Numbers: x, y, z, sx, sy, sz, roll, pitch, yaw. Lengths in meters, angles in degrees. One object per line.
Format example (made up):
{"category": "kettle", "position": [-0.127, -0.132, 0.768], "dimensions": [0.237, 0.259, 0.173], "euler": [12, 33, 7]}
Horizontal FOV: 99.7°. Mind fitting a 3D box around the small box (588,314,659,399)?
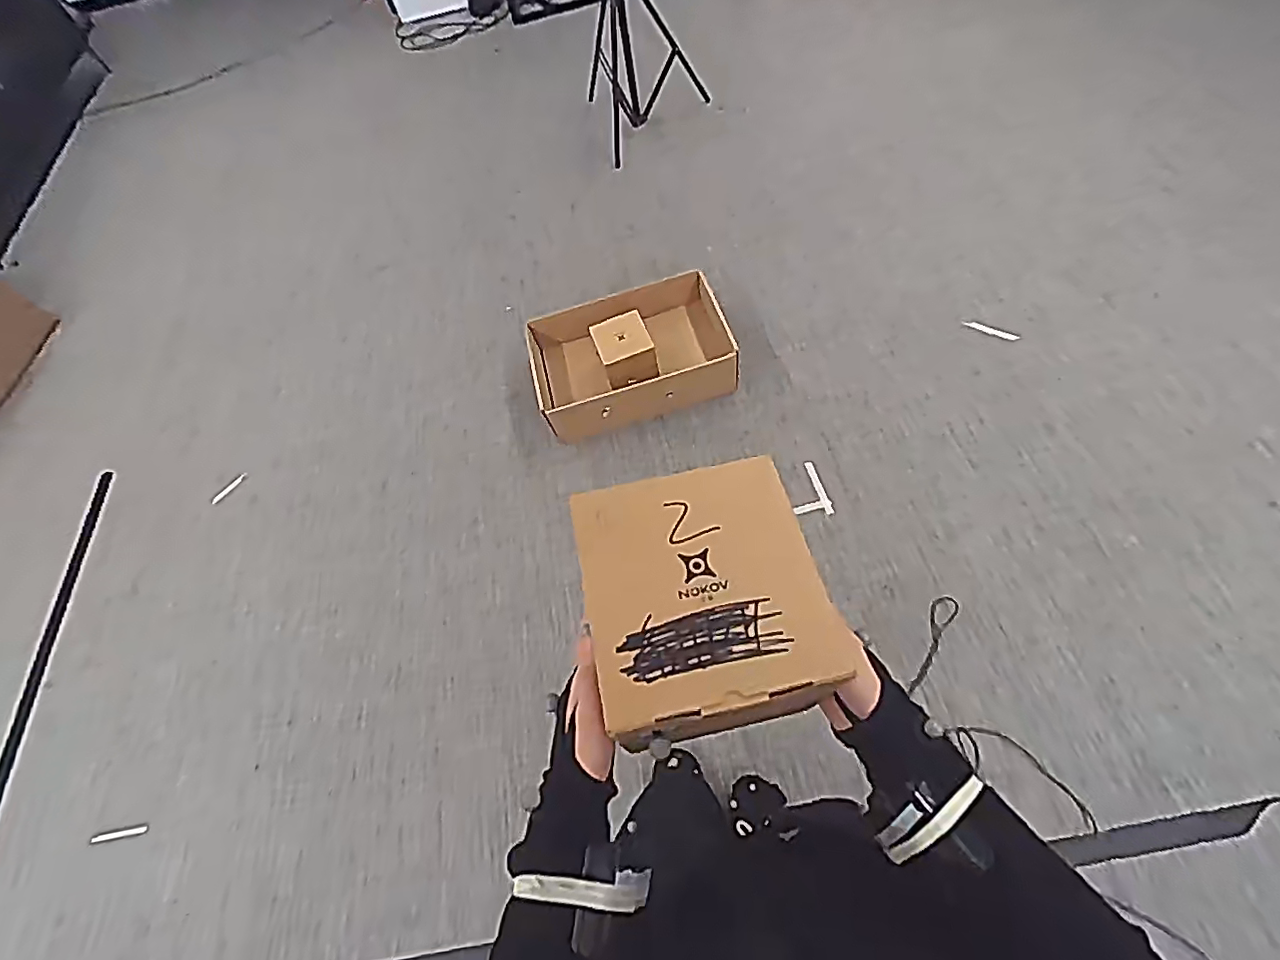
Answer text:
{"category": "small box", "position": [-0.050, -0.393, 1.738], "dimensions": [0.168, 0.176, 0.179], "euler": [-22, 61, -1]}
